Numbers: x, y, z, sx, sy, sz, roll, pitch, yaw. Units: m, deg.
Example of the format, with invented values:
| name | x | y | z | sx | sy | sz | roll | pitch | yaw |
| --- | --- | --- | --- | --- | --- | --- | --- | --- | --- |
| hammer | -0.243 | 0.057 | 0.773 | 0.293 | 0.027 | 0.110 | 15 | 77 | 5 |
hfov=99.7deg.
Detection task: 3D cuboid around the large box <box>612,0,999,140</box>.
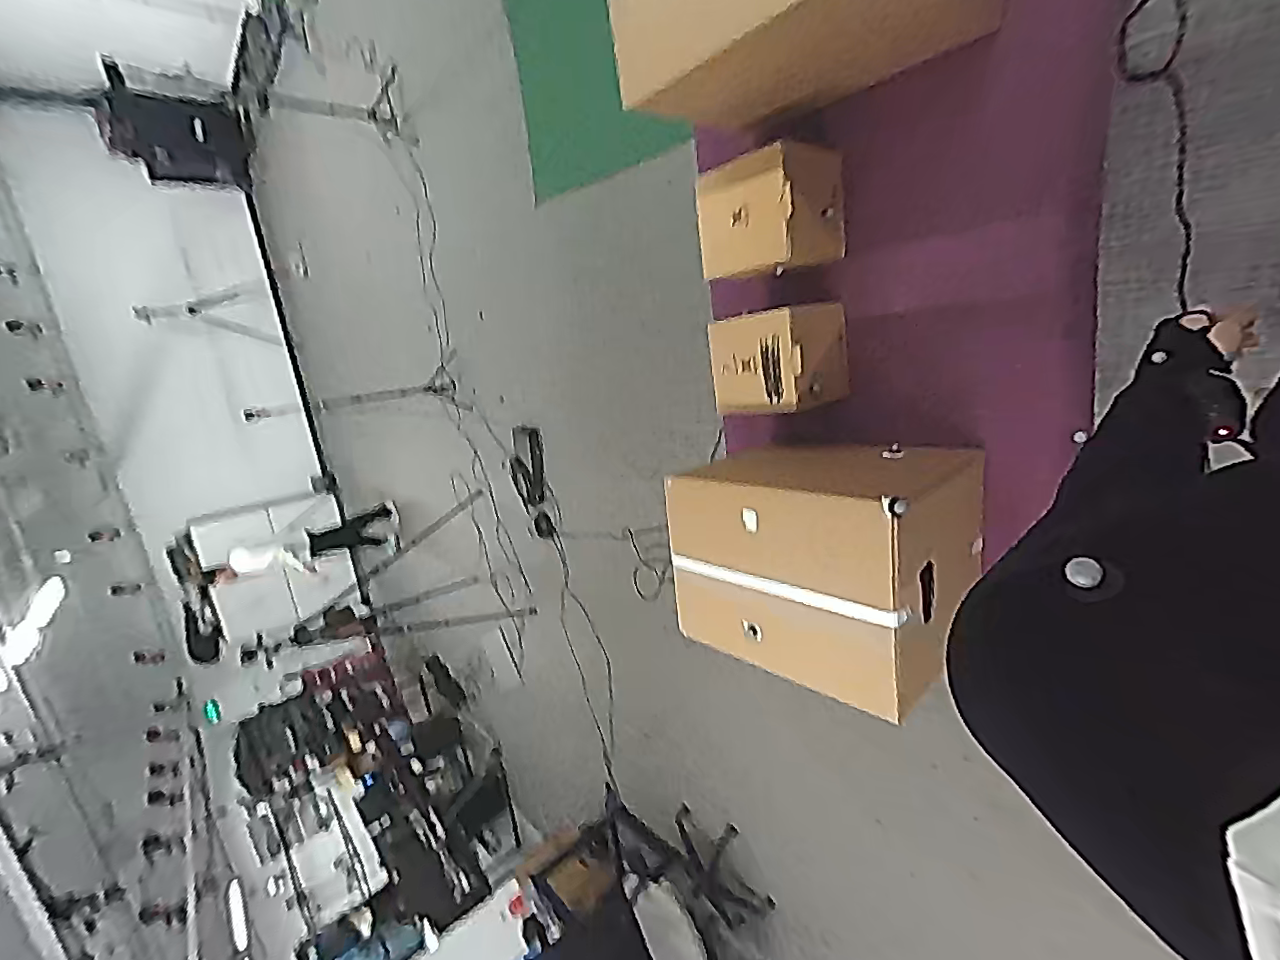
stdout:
| name | x | y | z | sx | sy | sz | roll | pitch | yaw |
| --- | --- | --- | --- | --- | --- | --- | --- | --- | --- |
| large box | 0.201 | -0.709 | 0.713 | 0.408 | 0.320 | 0.320 | 8 | 112 | 48 |
